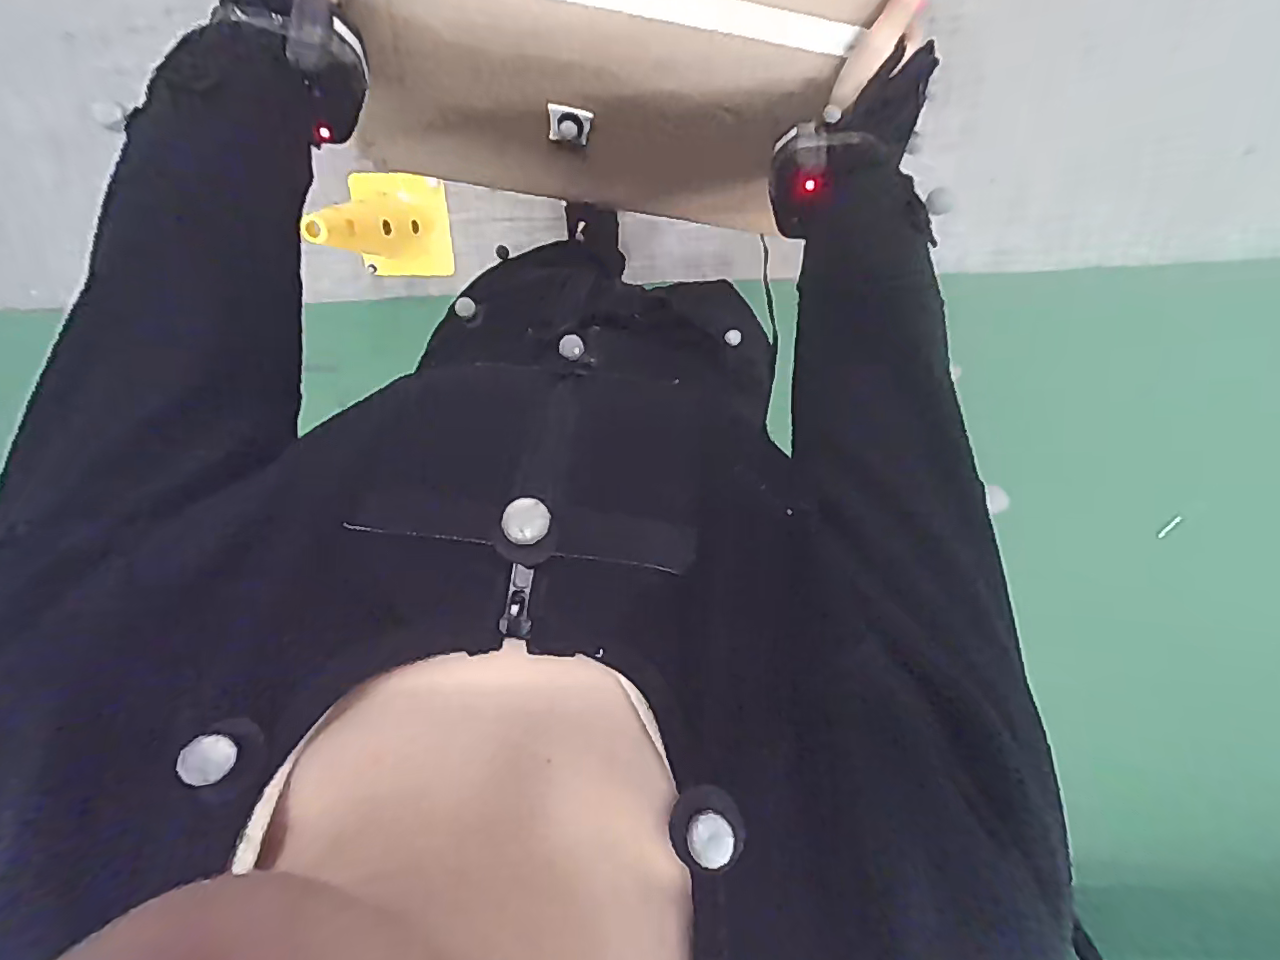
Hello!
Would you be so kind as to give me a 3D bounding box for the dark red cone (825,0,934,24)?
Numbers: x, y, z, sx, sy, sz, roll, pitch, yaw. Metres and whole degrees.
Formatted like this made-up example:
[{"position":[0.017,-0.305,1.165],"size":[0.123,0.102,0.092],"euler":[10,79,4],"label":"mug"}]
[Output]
[{"position":[0.415,-0.838,0.774],"size":[0.202,0.394,0.201],"euler":[-8,118,5],"label":"dark red cone"}]
